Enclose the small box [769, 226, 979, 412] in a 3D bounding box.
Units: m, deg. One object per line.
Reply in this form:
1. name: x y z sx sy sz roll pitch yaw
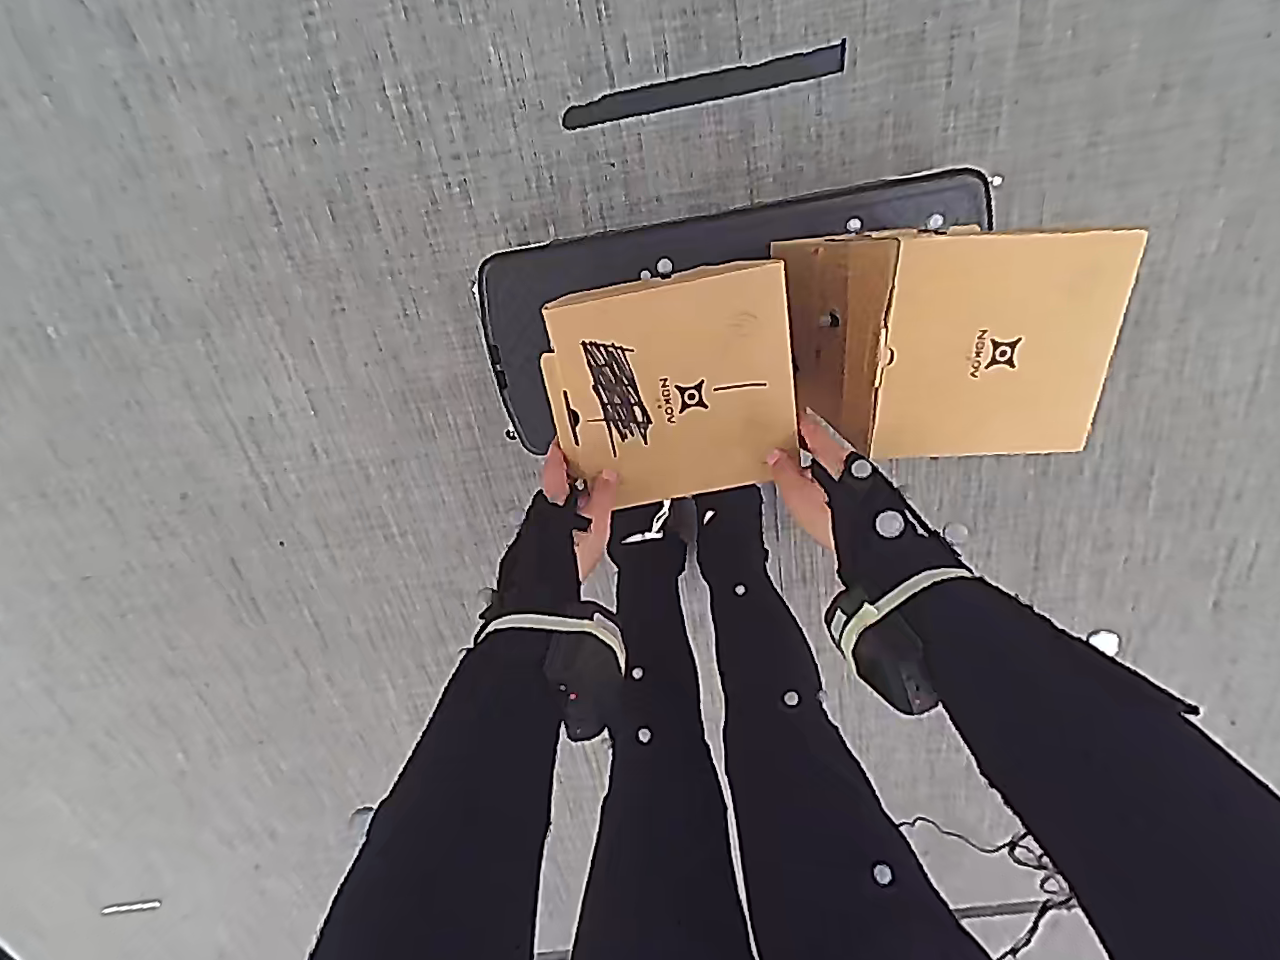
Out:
1. small box: 0.250 -0.191 0.626 0.168 0.176 0.179 -5 113 1
